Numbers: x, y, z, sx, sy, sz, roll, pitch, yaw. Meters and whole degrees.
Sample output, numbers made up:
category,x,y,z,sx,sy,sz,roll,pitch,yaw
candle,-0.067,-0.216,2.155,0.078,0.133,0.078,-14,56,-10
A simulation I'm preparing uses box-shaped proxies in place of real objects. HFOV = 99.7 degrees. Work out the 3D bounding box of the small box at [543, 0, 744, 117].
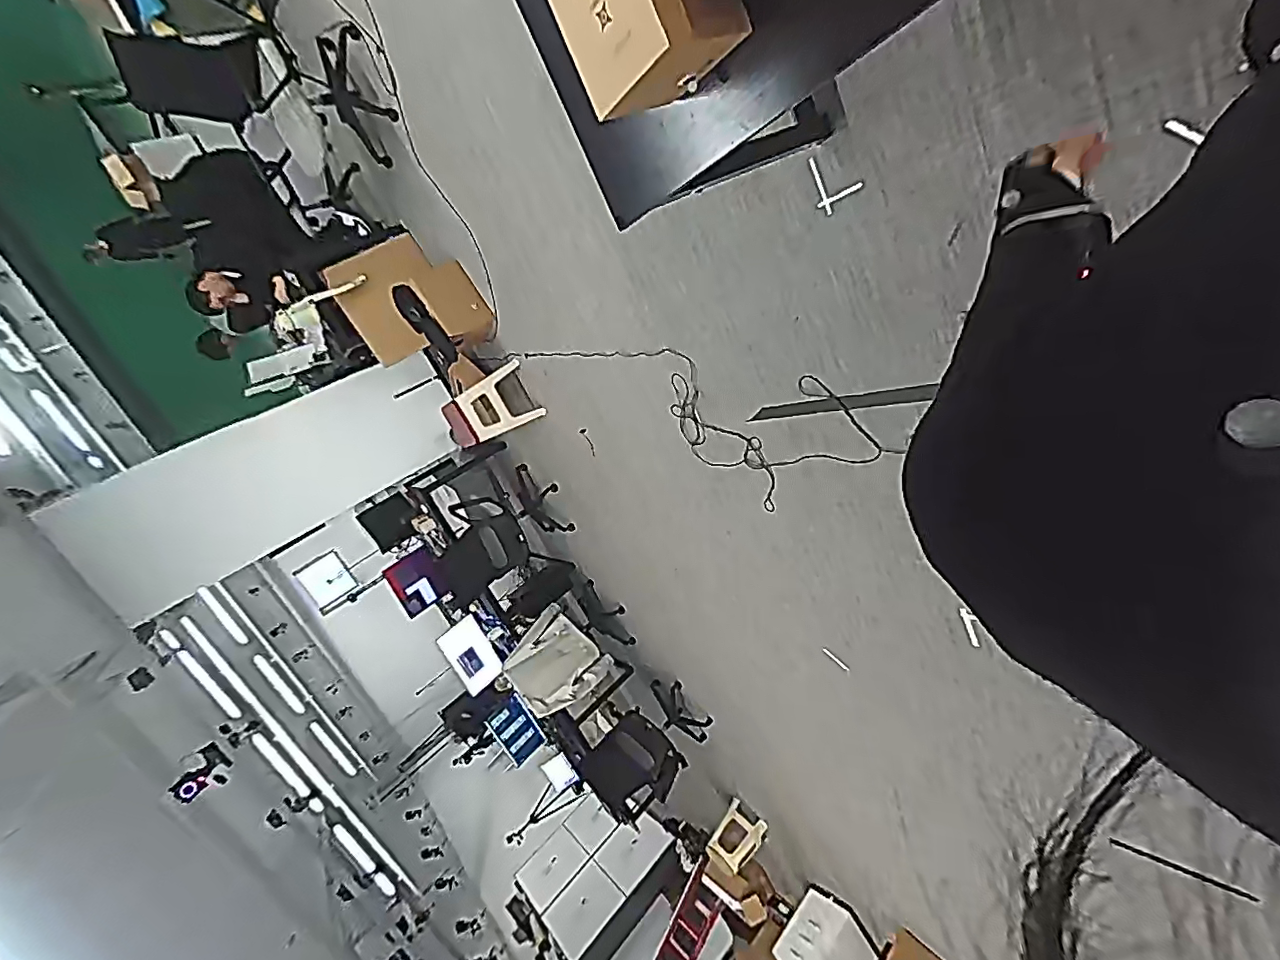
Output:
category,x,y,z,sx,sy,sz,roll,pitch,yaw
small box,0.003,-0.624,0.709,0.168,0.176,0.179,-1,121,56
